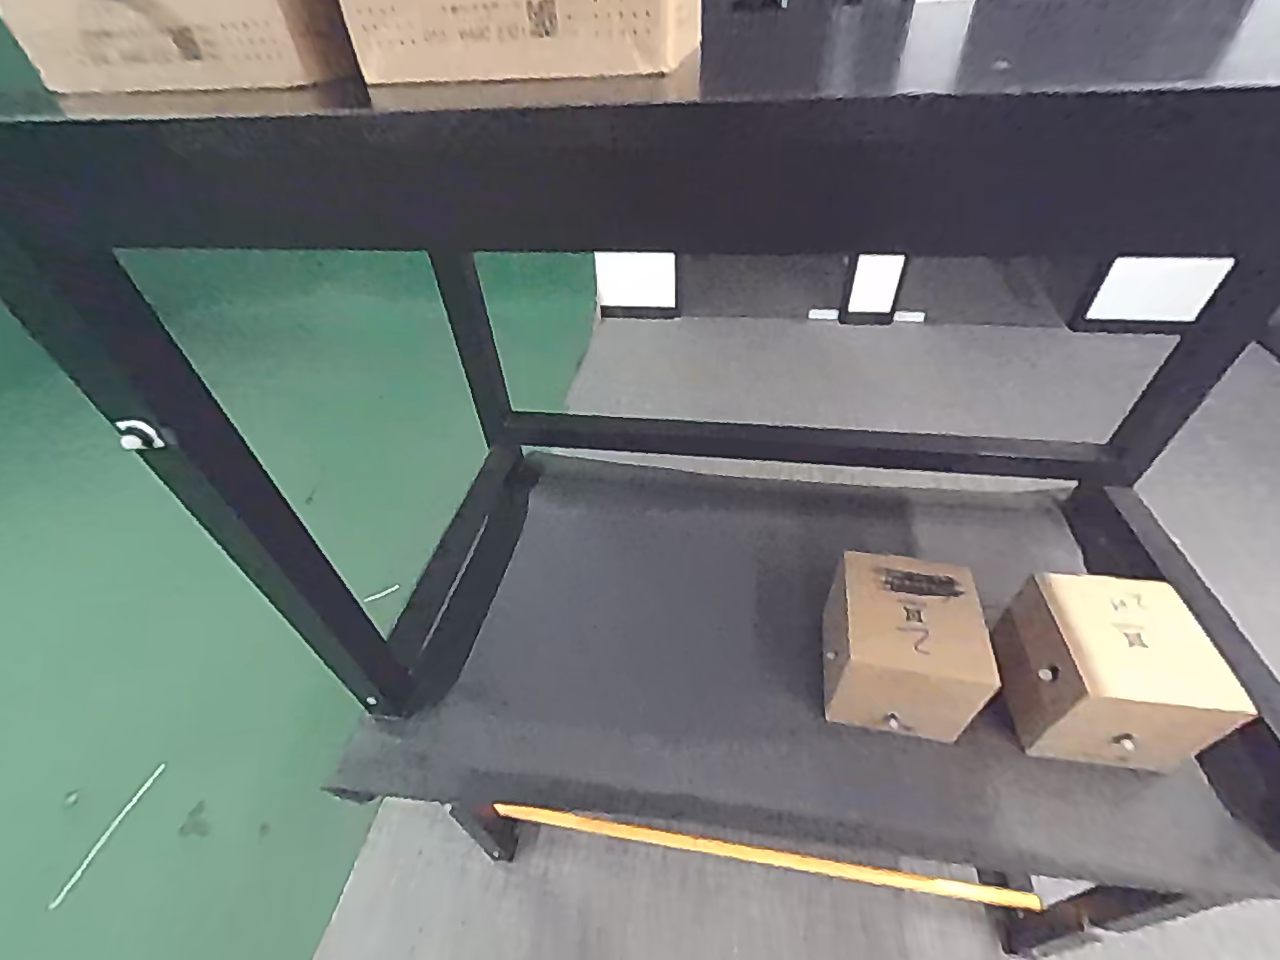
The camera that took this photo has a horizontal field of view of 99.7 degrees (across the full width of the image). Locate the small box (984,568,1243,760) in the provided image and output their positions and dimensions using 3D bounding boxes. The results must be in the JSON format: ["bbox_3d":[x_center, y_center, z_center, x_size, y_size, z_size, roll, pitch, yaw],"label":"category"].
[{"bbox_3d":[0.590,0.241,0.708,0.168,0.176,0.179,4,43,8],"label":"small box"}]

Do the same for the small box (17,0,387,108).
[{"bbox_3d":[-0.251,-0.333,0.314,0.168,0.176,0.179,4,45,8],"label":"small box"}]

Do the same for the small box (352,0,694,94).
[{"bbox_3d":[-0.057,-0.317,0.287,0.168,0.176,0.179,4,43,9],"label":"small box"}]
